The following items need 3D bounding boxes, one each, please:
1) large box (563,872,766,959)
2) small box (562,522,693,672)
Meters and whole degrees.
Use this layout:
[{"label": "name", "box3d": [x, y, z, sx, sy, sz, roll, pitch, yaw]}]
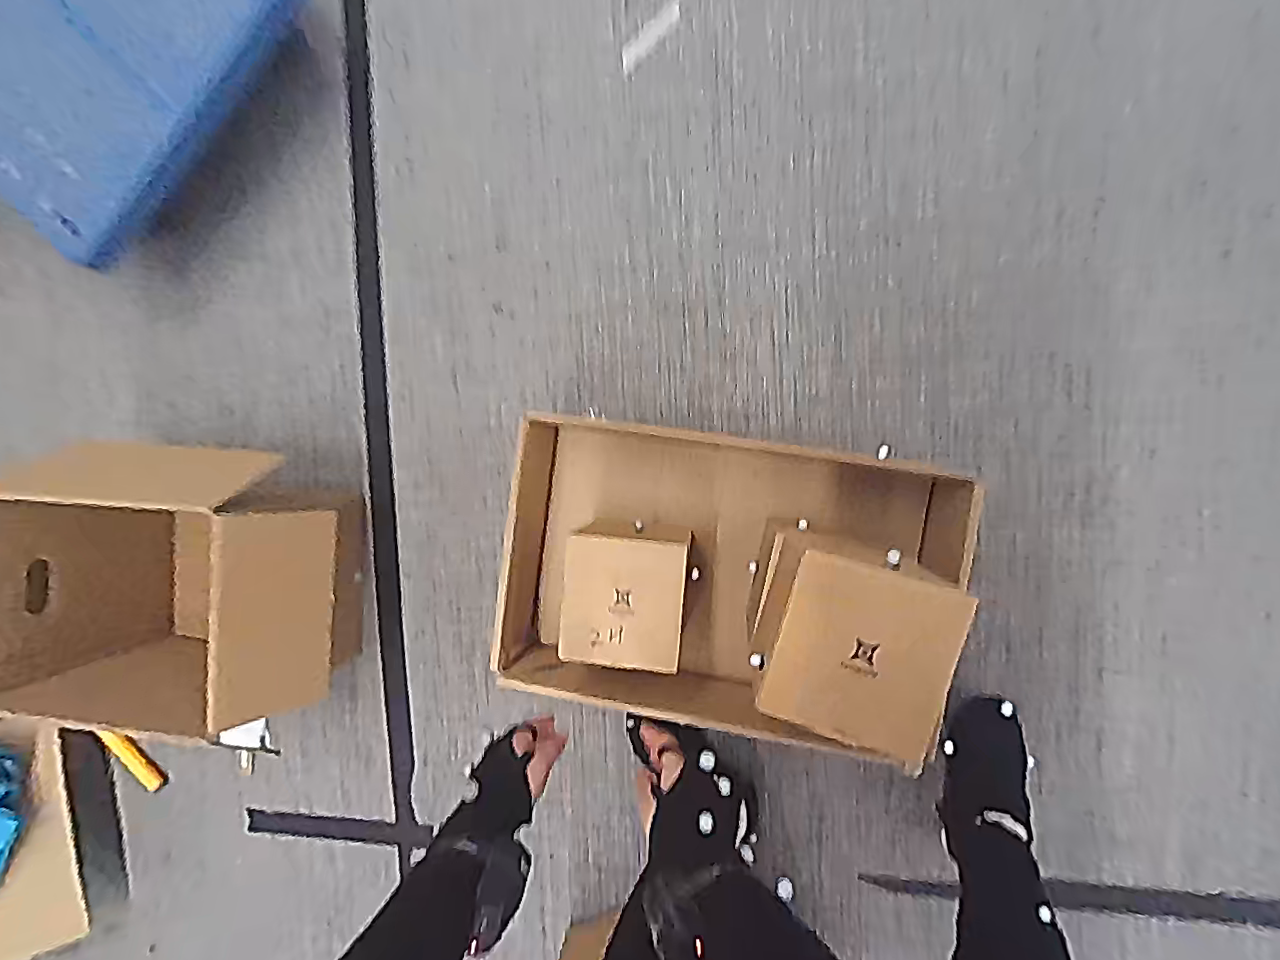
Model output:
[{"label": "large box", "box3d": [0.079, 0.925, 0.808, 0.320, 0.320, 0.408, -29, 90, 9]}, {"label": "small box", "box3d": [-0.010, 0.160, 0.802, 0.168, 0.176, 0.179, 5, 93, 7]}]
